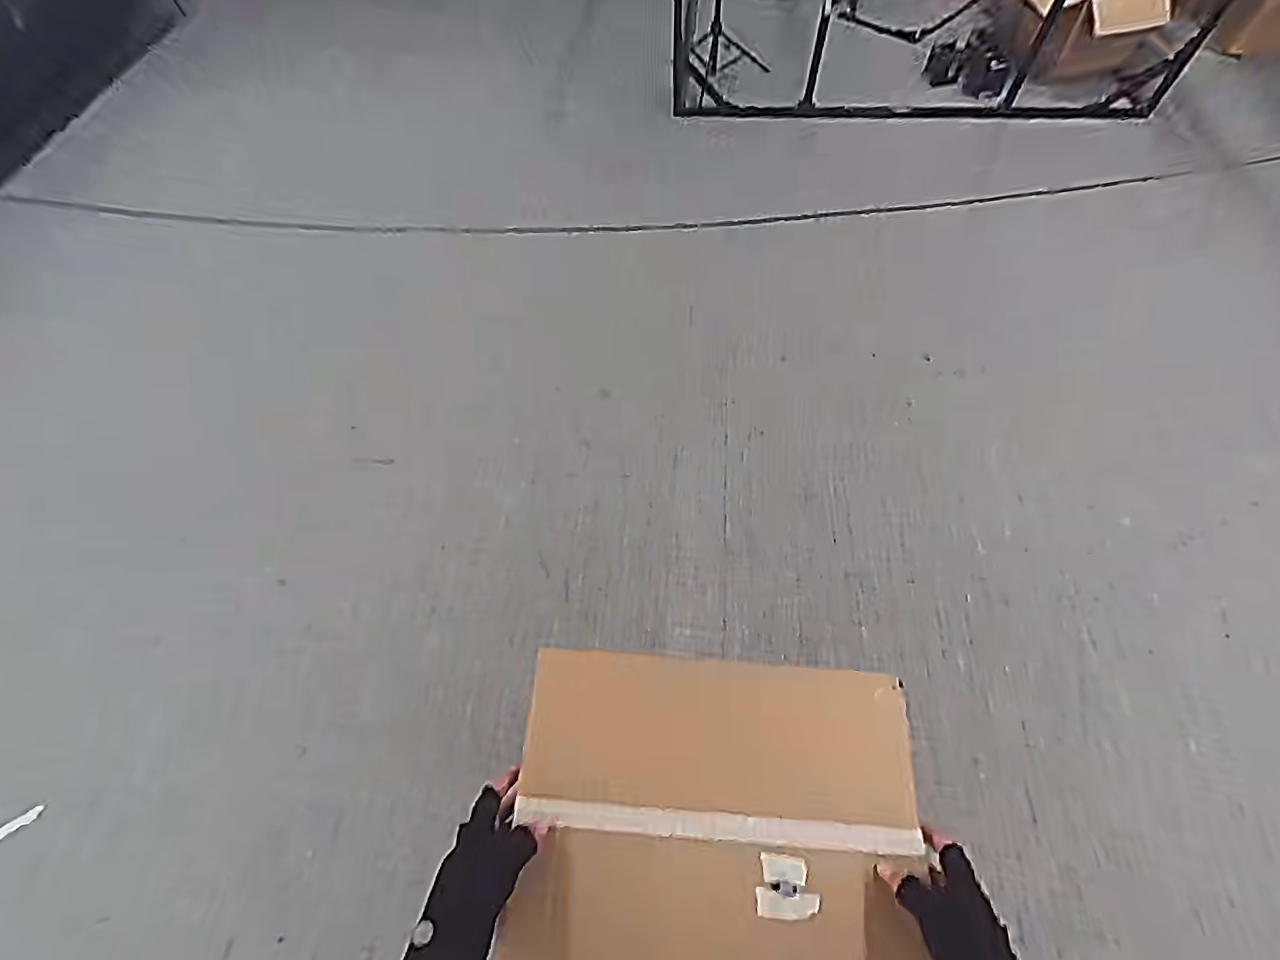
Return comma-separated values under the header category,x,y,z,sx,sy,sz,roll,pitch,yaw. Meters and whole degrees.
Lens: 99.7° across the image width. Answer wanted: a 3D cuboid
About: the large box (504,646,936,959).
category,x,y,z,sx,sy,sz,roll,pitch,yaw
large box,0.079,0.403,0.677,0.408,0.320,0.320,4,64,3
